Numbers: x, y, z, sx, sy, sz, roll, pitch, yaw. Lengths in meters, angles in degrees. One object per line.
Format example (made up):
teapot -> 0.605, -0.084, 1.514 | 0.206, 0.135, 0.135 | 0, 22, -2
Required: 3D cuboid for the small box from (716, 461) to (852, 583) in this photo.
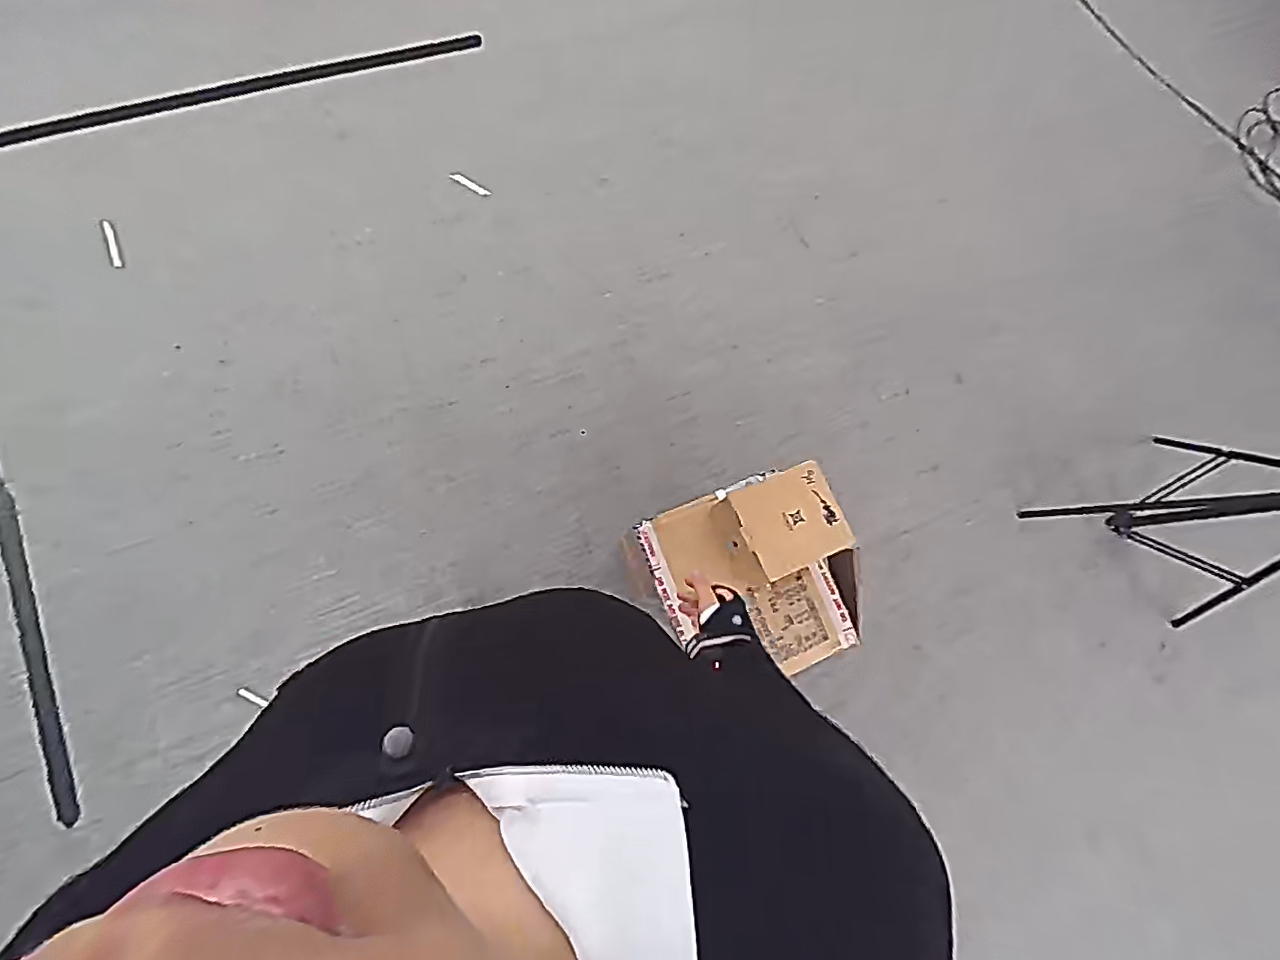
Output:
small box -> 0.254, 0.087, 1.011 | 0.179, 0.176, 0.168 | -23, 81, -7
